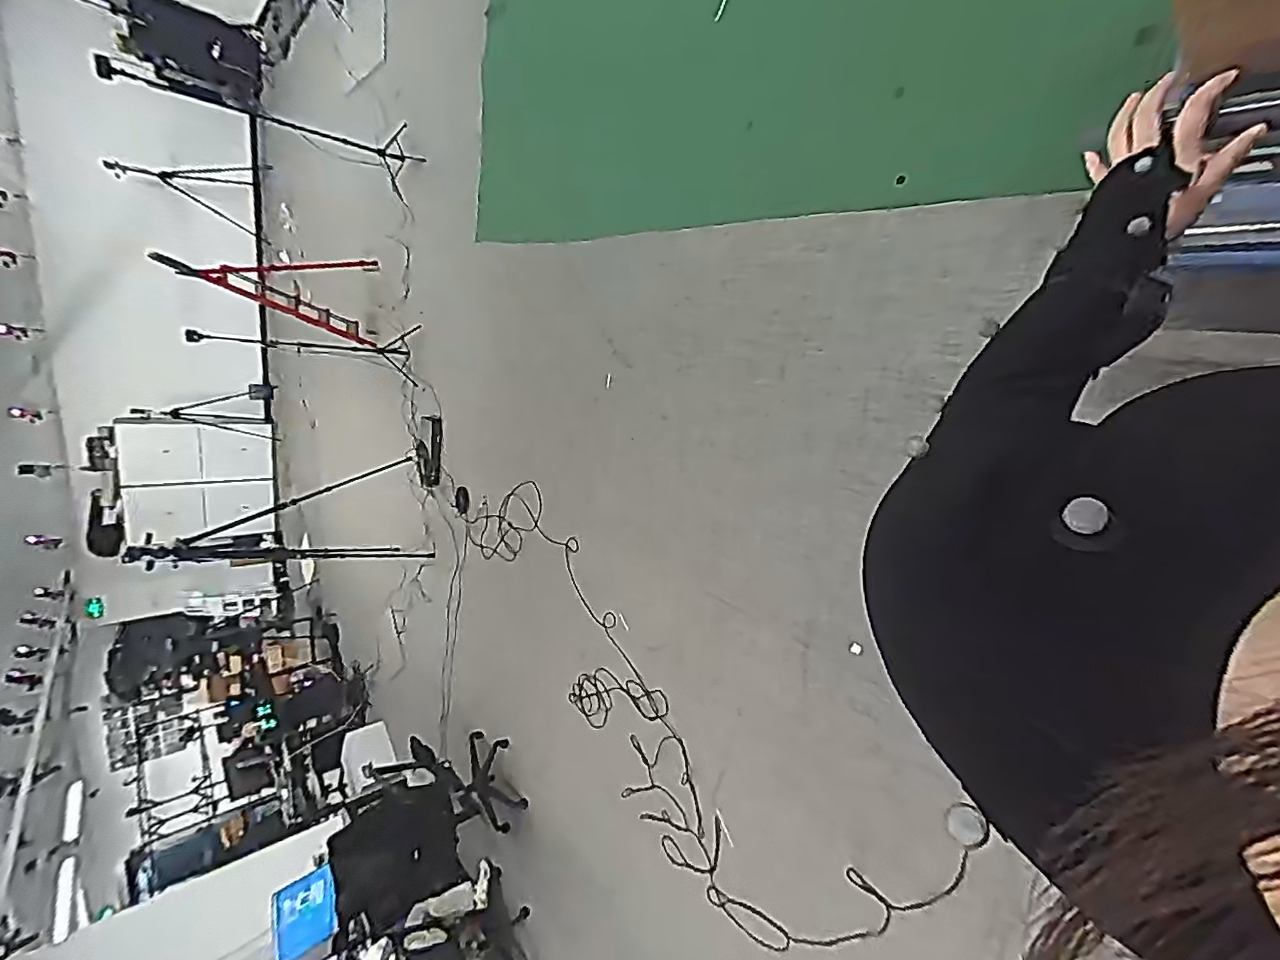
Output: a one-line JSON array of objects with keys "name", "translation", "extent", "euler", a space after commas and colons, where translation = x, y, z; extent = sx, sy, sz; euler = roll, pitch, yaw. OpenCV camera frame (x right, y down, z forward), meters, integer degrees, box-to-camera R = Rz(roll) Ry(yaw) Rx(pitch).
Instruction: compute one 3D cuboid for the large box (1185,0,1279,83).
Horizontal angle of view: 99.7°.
[{"name": "large box", "translation": [0.999, -0.769, 0.667], "extent": [0.408, 0.320, 0.320], "euler": [23, 110, 43]}]
